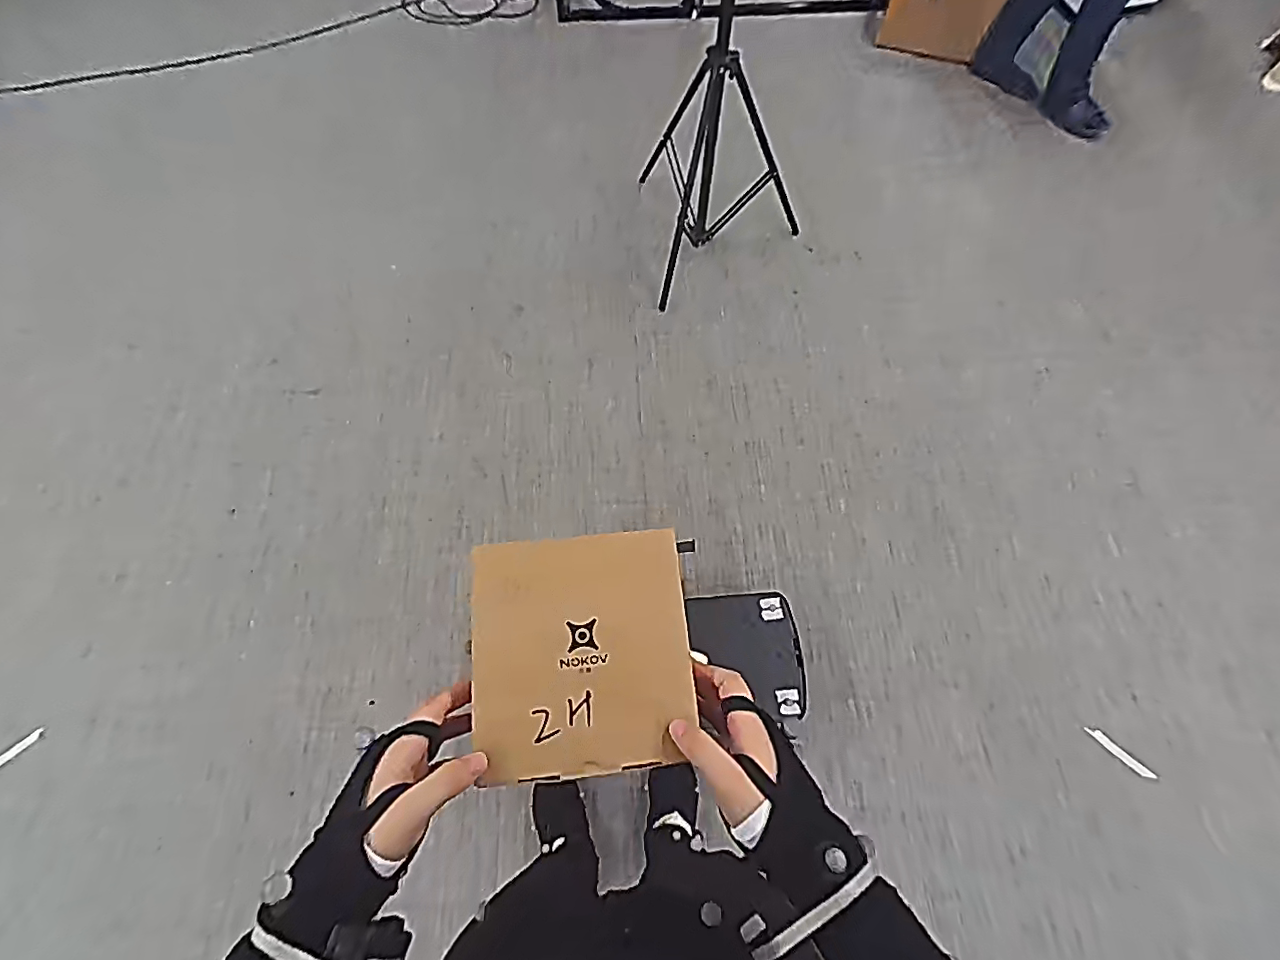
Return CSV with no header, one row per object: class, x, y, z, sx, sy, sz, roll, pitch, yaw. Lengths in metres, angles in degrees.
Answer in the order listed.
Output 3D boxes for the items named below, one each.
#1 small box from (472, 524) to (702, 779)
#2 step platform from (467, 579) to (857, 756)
small box,-0.048,0.150,0.485,0.168,0.176,0.179,-4,71,-5
step platform,0.036,0.376,1.047,0.684,0.204,0.286,-4,66,-2
